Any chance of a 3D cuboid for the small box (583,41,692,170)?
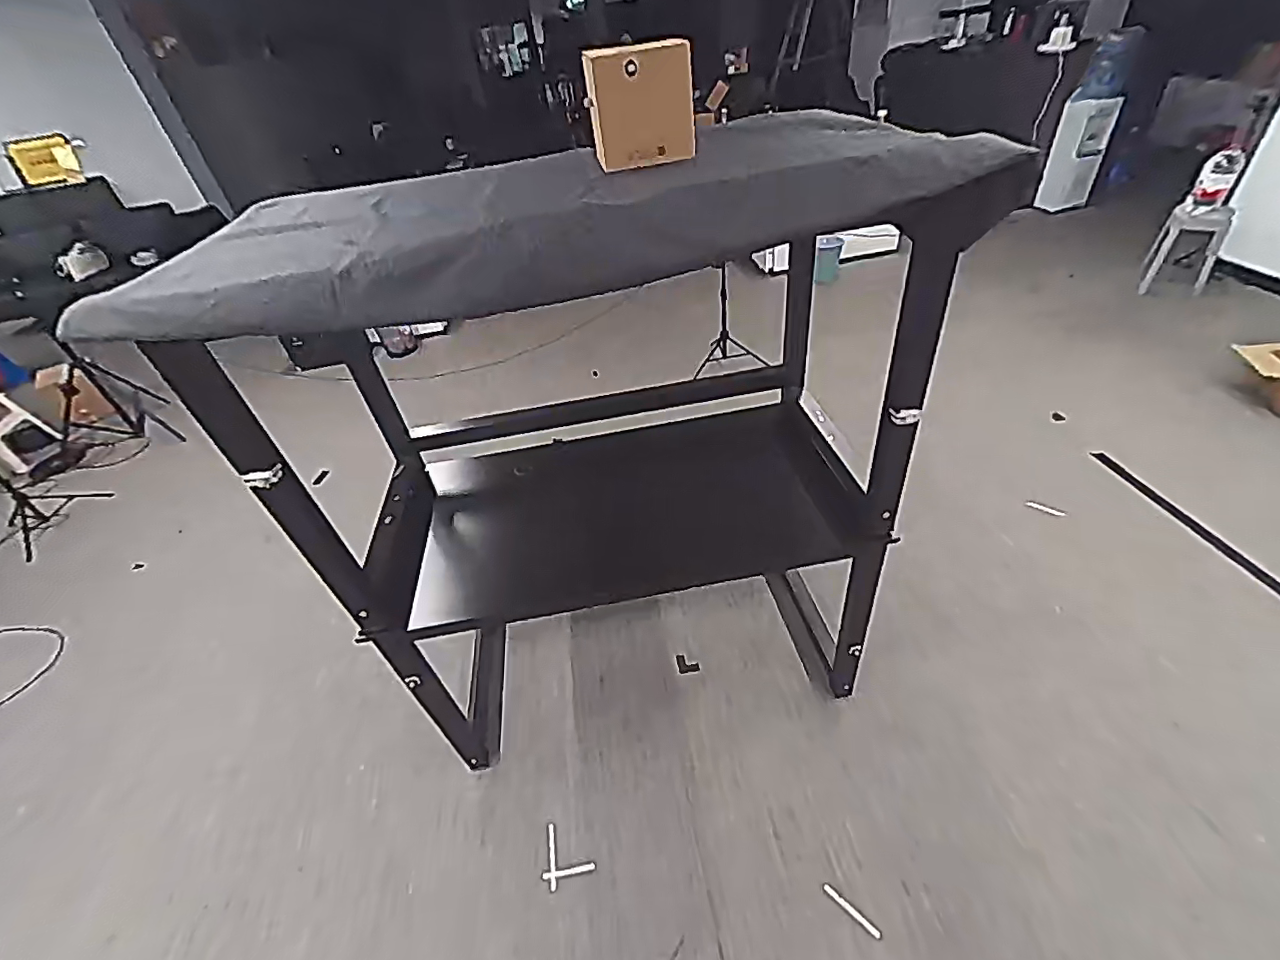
[{"bbox_3d":[-0.006,-0.680,0.986,0.168,0.176,0.179,-11,39,-2],"label":"small box"}]
